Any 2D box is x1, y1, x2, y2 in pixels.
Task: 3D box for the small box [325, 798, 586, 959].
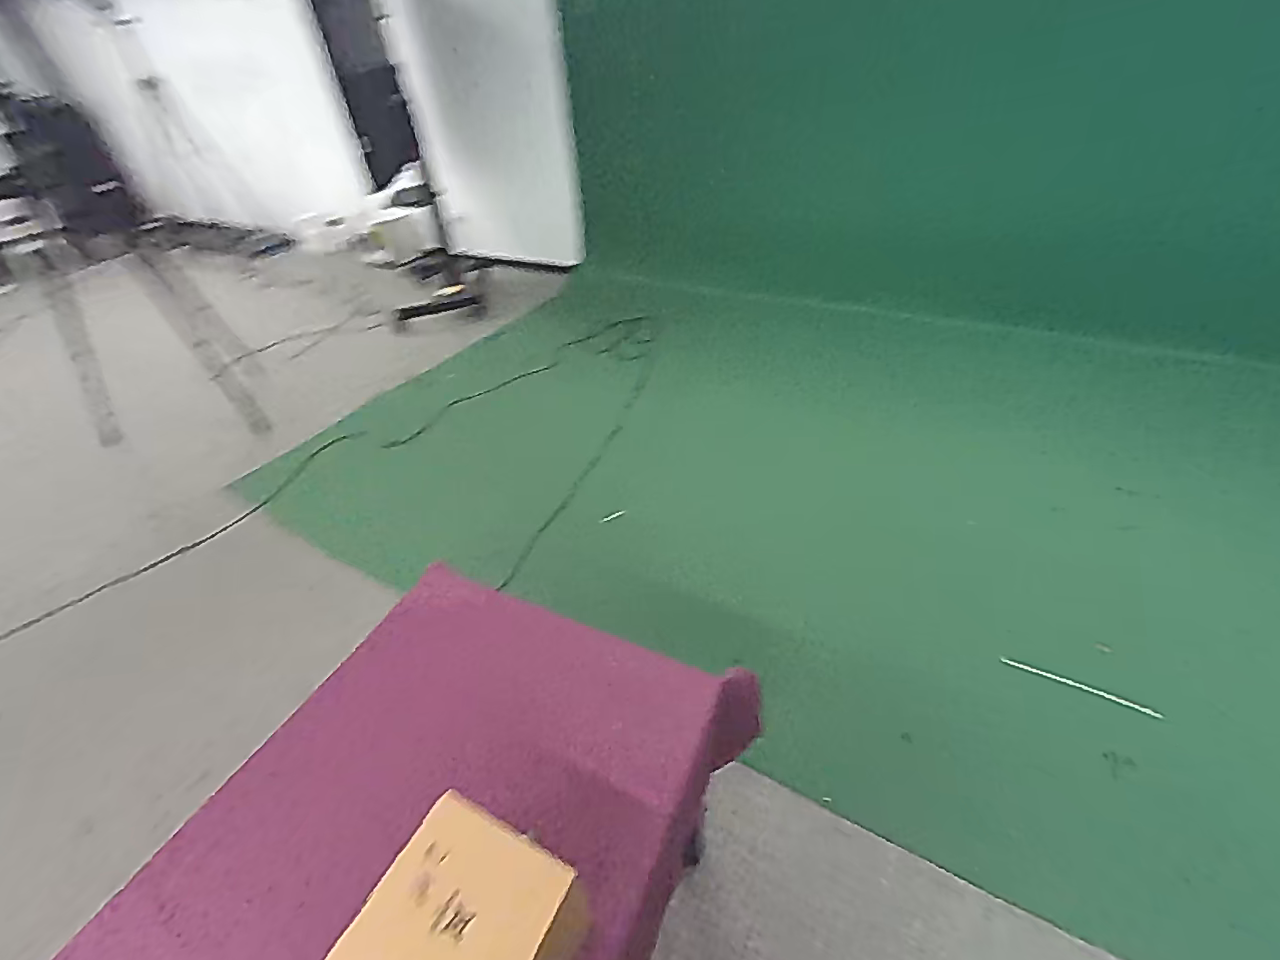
[{"bbox_3d":[-0.173,0.481,0.564,0.179,0.176,0.168,15,43,23],"label":"small box"}]
